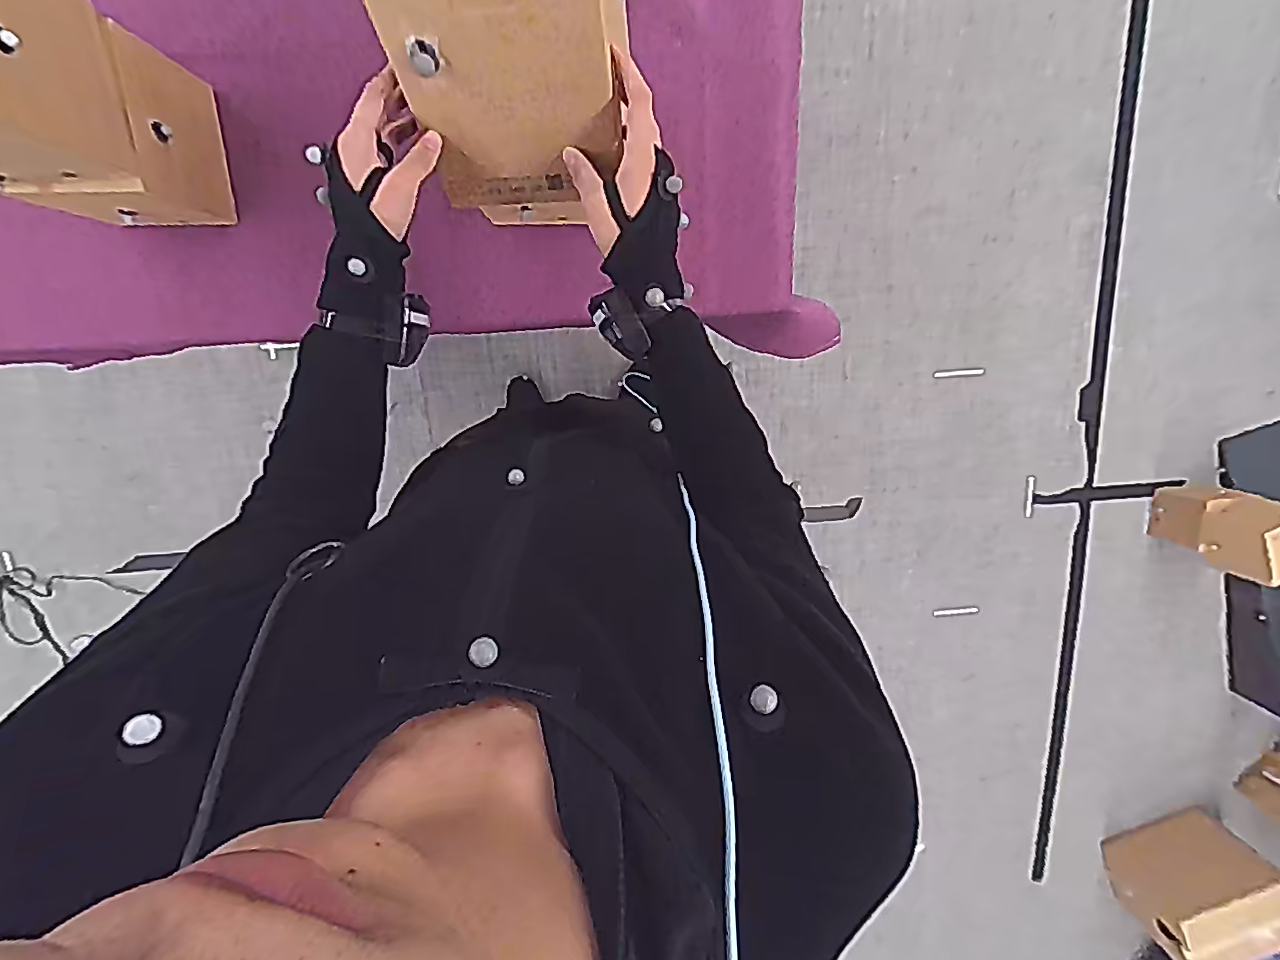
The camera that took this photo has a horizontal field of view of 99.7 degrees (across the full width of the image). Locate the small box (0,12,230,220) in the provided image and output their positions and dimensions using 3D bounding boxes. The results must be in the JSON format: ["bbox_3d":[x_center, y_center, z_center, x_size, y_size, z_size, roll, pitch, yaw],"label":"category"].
[{"bbox_3d":[-0.650,-0.428,0.665,0.168,0.176,0.179,-2,104,-4],"label":"small box"}]

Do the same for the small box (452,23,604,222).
[{"bbox_3d":[-0.132,-0.444,0.702,0.168,0.176,0.179,-2,103,-3],"label":"small box"}]

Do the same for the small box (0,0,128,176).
[{"bbox_3d":[-0.643,-0.401,0.503,0.168,0.176,0.179,-6,103,-3],"label":"small box"}]
